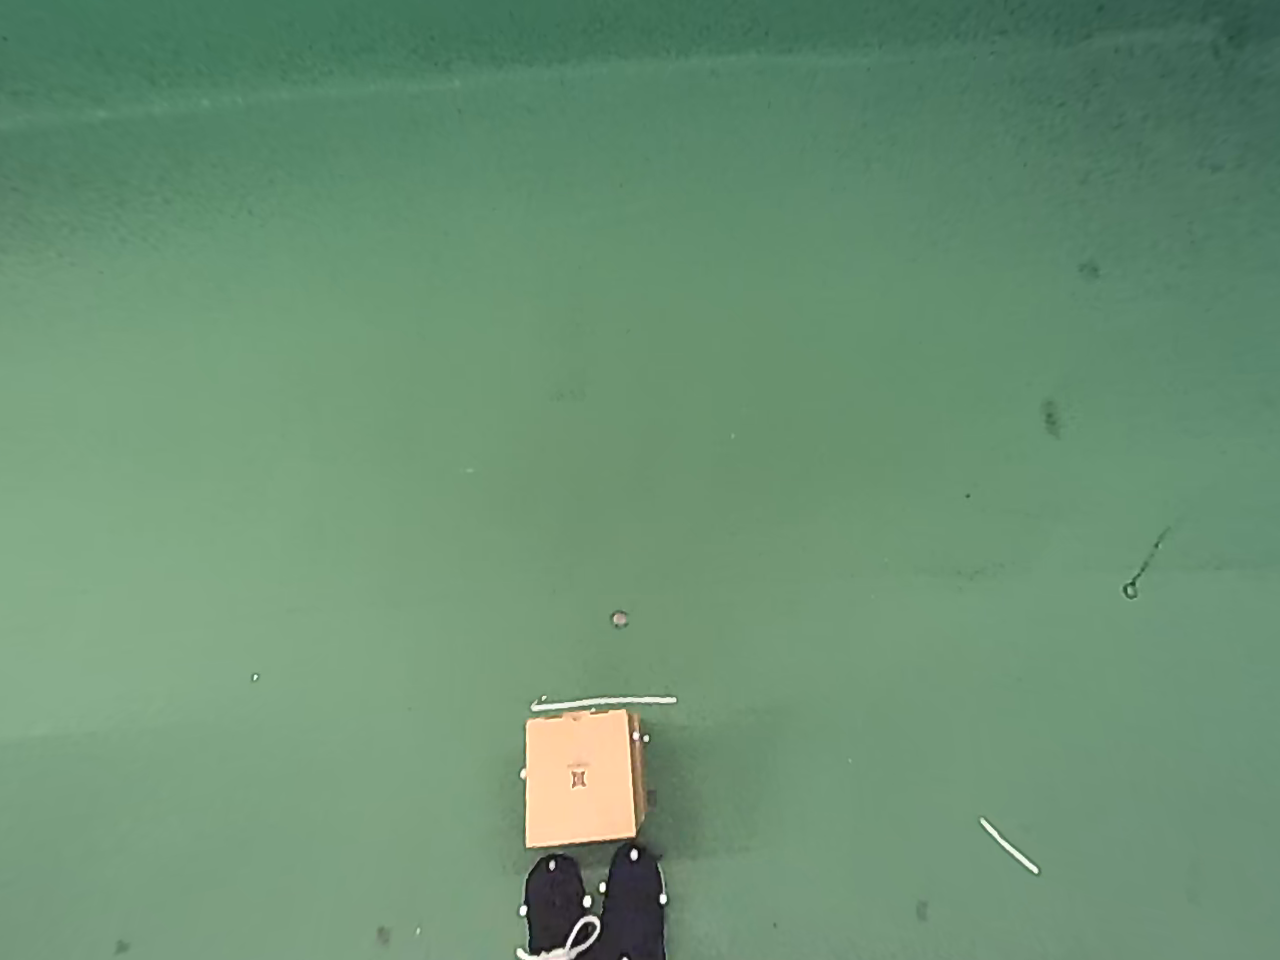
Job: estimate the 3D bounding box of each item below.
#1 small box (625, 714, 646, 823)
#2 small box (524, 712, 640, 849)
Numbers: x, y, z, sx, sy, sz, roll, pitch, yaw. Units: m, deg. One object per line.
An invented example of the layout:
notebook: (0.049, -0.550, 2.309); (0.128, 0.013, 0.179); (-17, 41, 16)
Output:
small box: (-0.077, 0.559, 1.046); (0.168, 0.176, 0.179); (-5, 64, 1)
small box: (-0.092, 0.491, 0.899); (0.168, 0.176, 0.179); (-6, 63, 0)
